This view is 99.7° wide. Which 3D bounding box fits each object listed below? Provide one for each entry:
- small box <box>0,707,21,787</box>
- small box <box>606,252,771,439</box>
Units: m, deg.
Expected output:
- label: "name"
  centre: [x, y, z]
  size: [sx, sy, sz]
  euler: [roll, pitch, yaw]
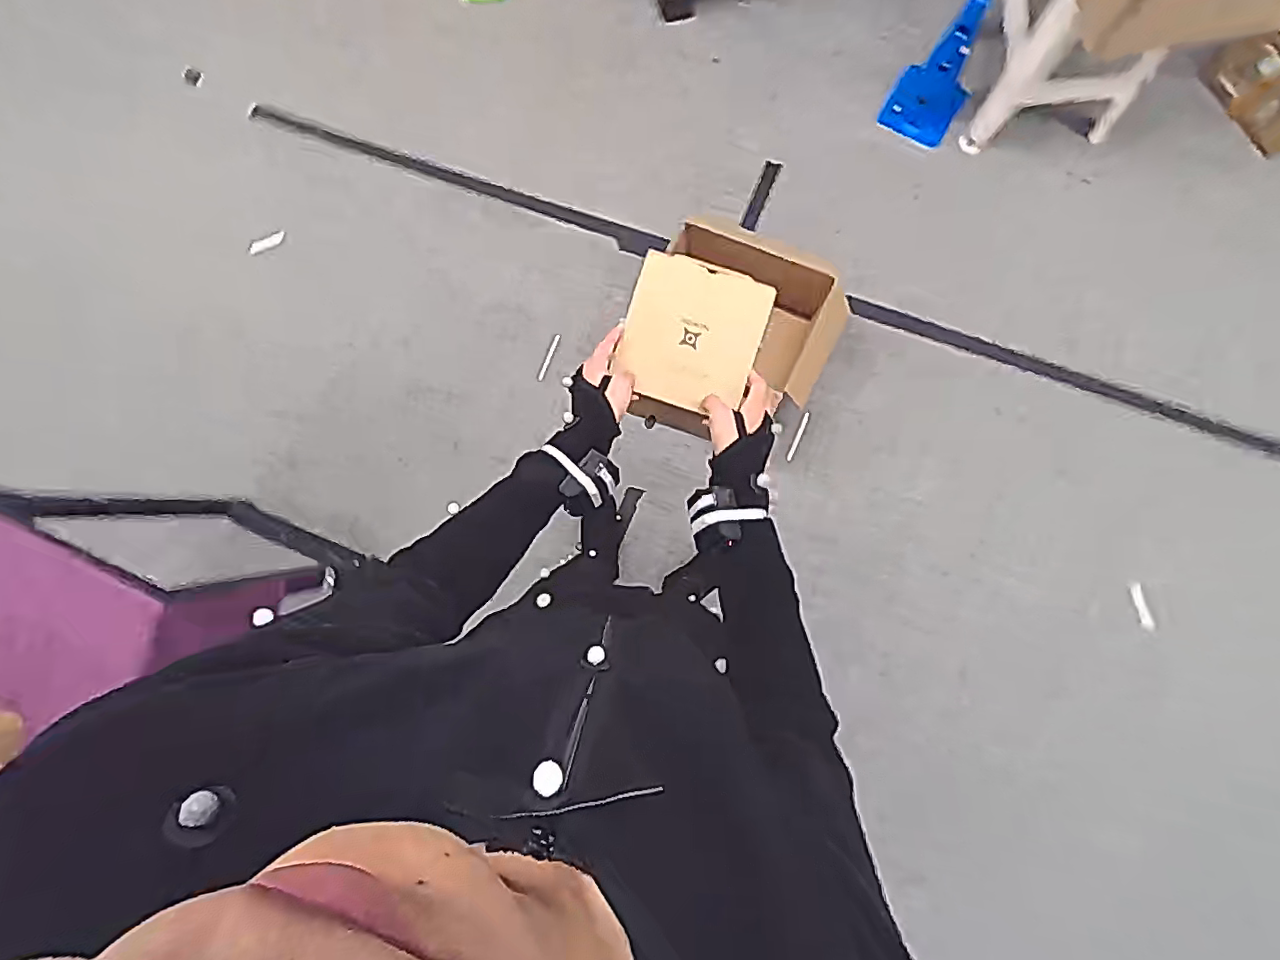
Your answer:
- label: "small box"
  centre: [-1.282, 0.504, 0.961]
  size: [0.179, 0.176, 0.168]
  euler: [13, 89, 8]
- label: "small box"
  centre: [0.059, -0.171, 0.741]
  size: [0.168, 0.176, 0.179]
  euler: [18, 86, 1]
